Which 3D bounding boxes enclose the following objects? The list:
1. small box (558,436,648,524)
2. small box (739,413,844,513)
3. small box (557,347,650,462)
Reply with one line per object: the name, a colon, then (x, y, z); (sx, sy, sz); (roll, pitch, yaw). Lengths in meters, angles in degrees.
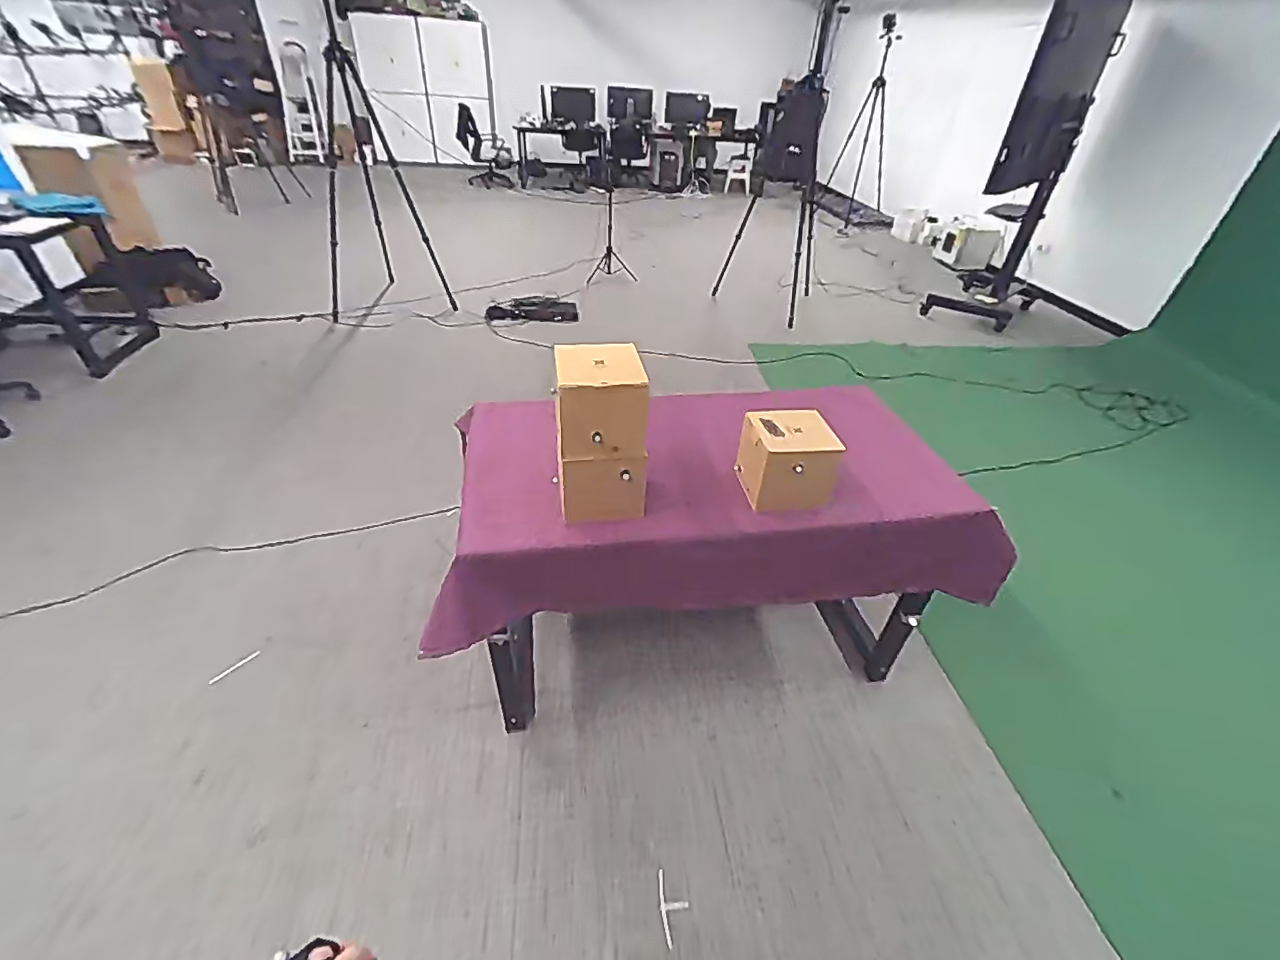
small box: (-0.086, -0.021, 1.180); (0.179, 0.176, 0.168); (-4, 37, -10)
small box: (0.333, -0.038, 1.238); (0.179, 0.176, 0.168); (-2, 38, -8)
small box: (-0.081, -0.153, 1.085); (0.168, 0.176, 0.179); (-4, 39, -10)
